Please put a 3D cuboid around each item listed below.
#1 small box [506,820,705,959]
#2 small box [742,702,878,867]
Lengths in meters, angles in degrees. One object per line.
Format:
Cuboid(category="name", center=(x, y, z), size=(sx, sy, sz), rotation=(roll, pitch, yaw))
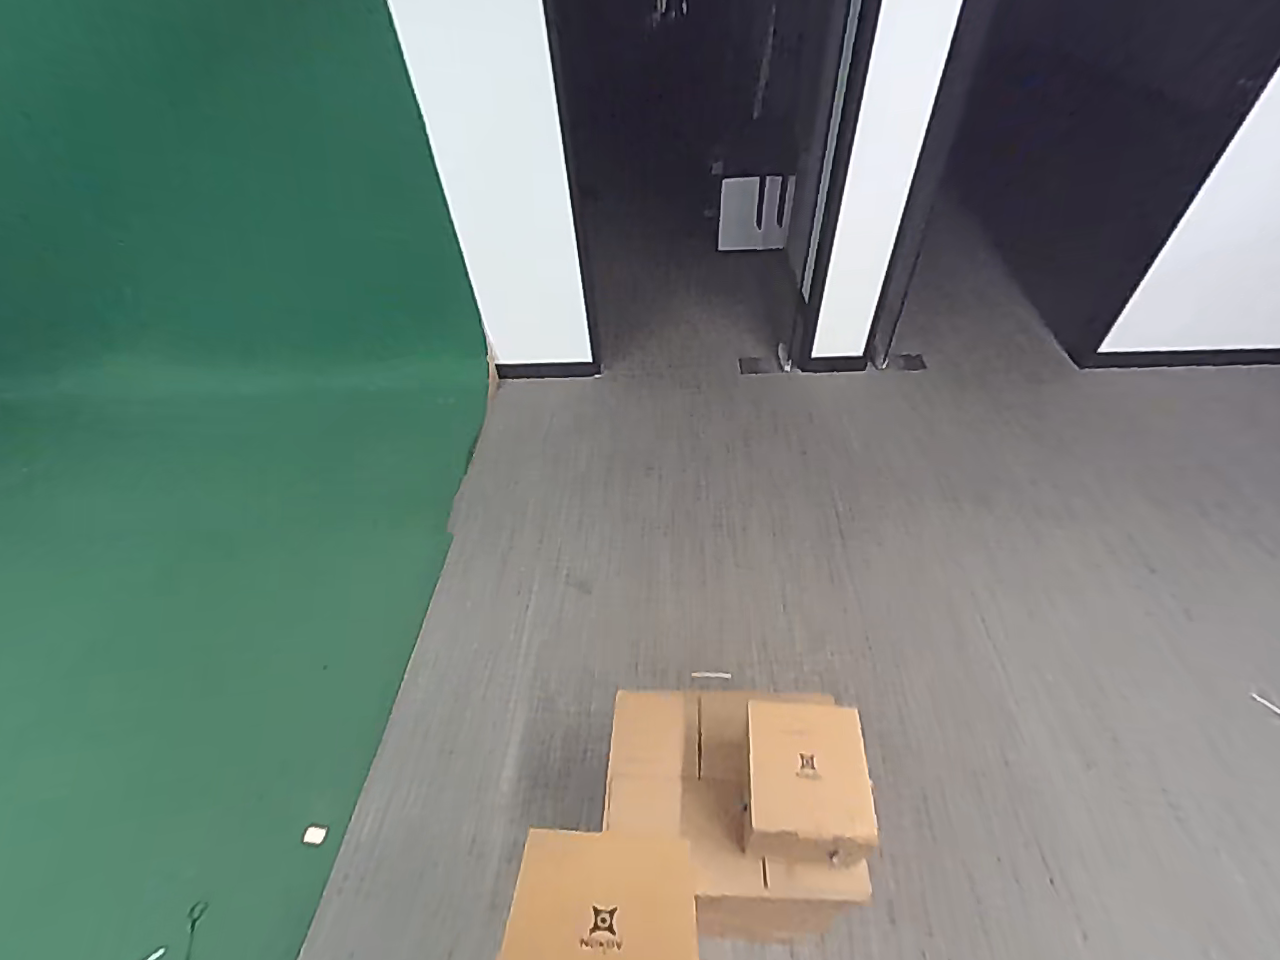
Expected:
Cuboid(category="small box", center=(-0.033, 0.457, 0.494), size=(0.168, 0.176, 0.179), rotation=(4, 18, -1))
Cuboid(category="small box", center=(0.245, 0.462, 0.819), size=(0.168, 0.176, 0.179), rotation=(1, 45, 7))
